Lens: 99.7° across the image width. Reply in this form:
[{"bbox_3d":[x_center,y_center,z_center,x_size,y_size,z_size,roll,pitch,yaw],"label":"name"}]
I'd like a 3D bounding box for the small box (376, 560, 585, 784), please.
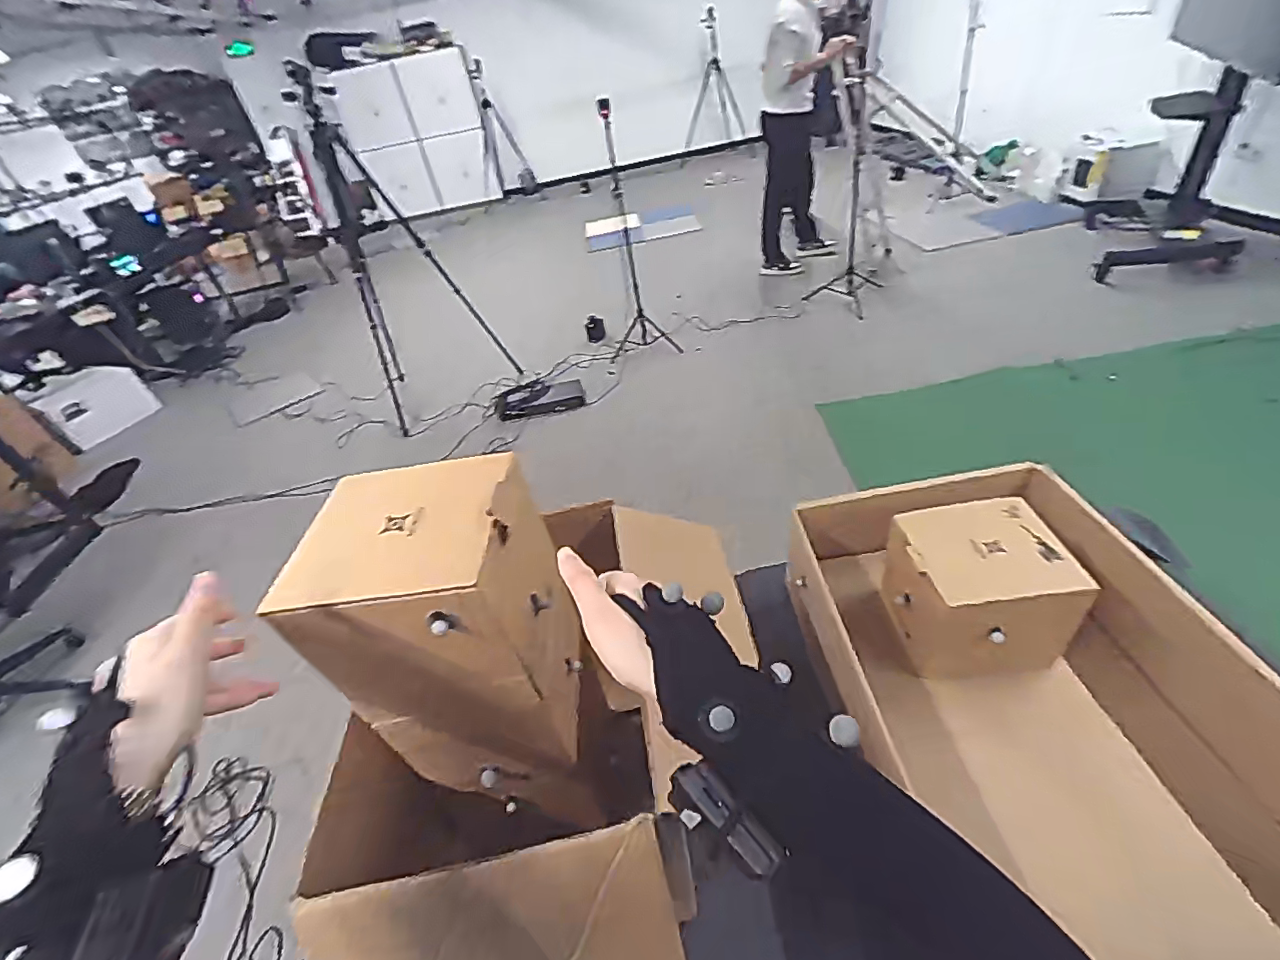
[{"bbox_3d":[-0.161,0.217,0.618,0.168,0.176,0.179,-9,41,4],"label":"small box"}]

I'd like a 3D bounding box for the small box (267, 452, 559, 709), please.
[{"bbox_3d":[-0.188,0.098,0.512,0.179,0.176,0.168,-8,40,4],"label":"small box"}]
